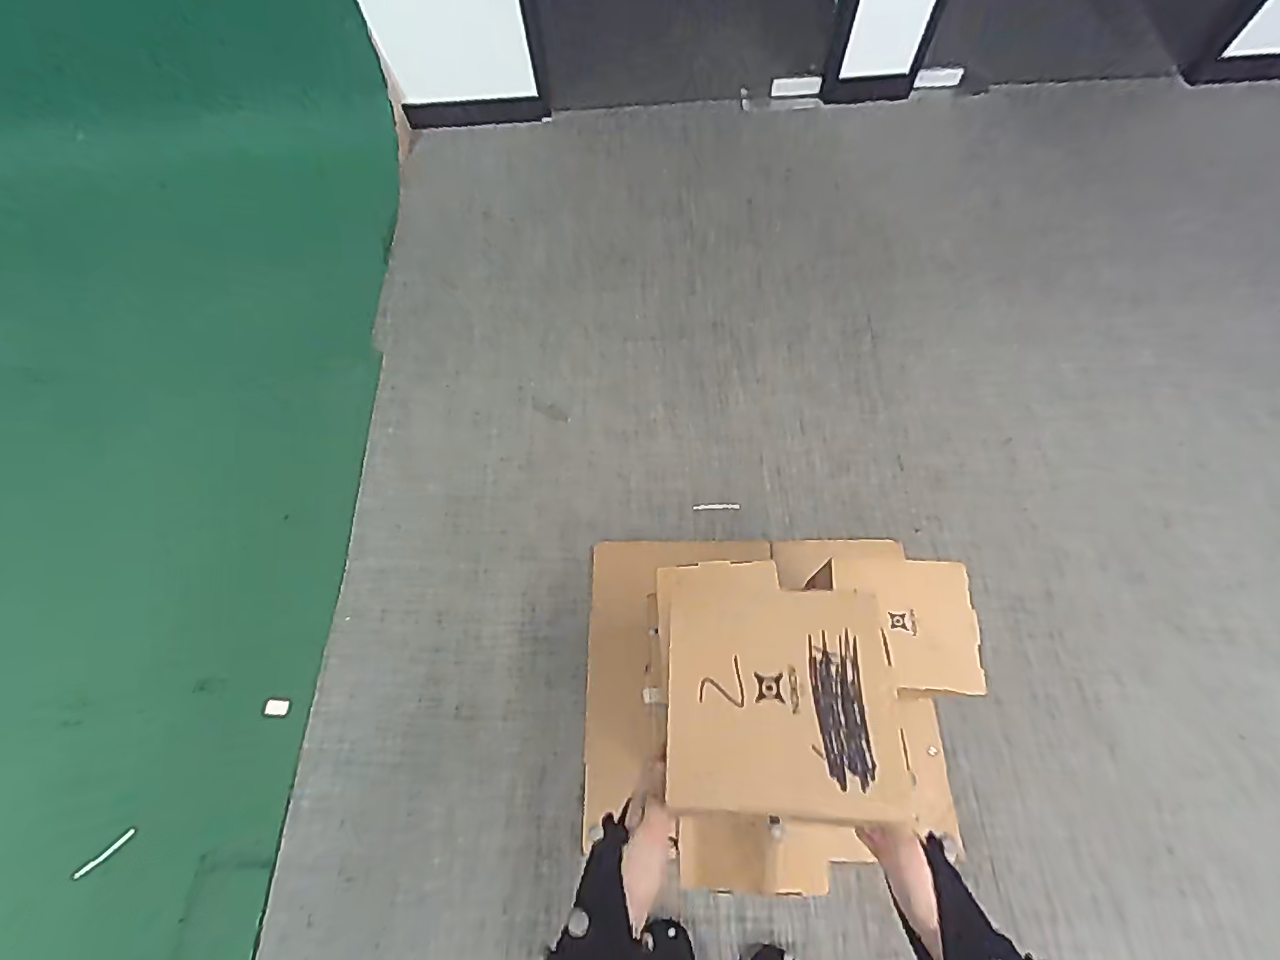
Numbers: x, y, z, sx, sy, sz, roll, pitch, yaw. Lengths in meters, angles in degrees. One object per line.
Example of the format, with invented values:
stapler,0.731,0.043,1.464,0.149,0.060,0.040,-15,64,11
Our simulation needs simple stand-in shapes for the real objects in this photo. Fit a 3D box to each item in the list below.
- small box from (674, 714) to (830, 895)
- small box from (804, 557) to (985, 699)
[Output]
small box,0.129,0.398,0.693,0.168,0.176,0.179,0,69,2
small box,0.341,0.213,0.760,0.179,0.176,0.168,3,67,4
